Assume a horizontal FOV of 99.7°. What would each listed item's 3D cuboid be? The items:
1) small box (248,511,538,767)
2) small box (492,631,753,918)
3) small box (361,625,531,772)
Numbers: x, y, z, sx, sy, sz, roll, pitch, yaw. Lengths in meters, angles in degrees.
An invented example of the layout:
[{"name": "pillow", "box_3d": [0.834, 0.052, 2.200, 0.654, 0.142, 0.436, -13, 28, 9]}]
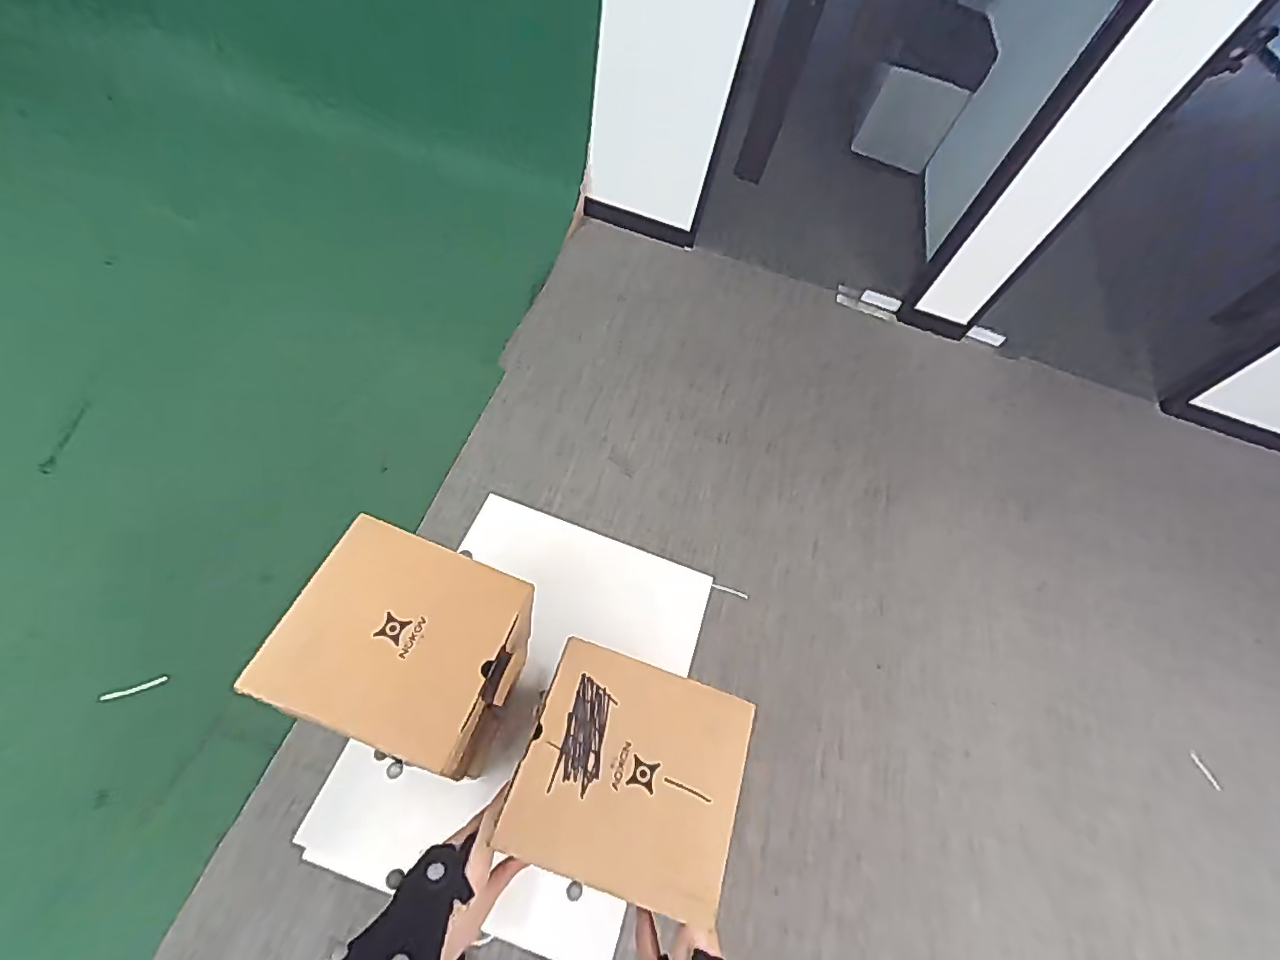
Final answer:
[{"name": "small box", "box_3d": [-0.218, 0.164, 0.528, 0.179, 0.176, 0.168, 23, 56, -1]}, {"name": "small box", "box_3d": [-0.019, 0.270, 0.505, 0.179, 0.176, 0.168, 21, 57, 2]}, {"name": "small box", "box_3d": [-0.251, 0.245, 0.667, 0.179, 0.176, 0.168, 21, 57, -1]}]
